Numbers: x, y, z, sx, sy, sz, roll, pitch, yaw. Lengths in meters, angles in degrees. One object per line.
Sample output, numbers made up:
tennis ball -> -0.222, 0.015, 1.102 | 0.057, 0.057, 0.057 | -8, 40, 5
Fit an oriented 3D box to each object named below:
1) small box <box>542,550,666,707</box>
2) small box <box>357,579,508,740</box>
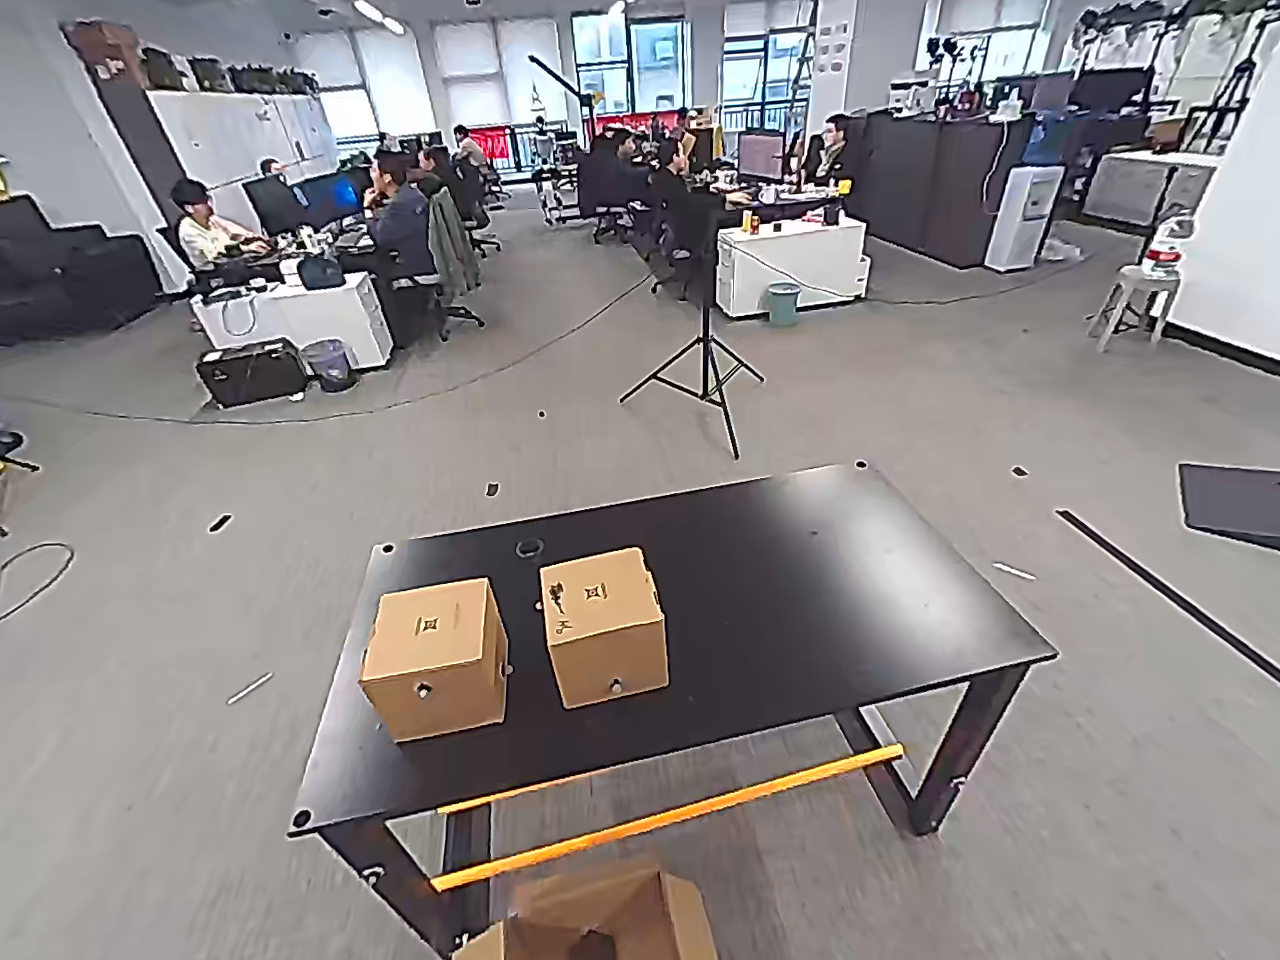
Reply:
small box -> -0.060, 0.245, 0.896 | 0.179, 0.176, 0.168 | -10, 36, -8
small box -> -0.318, 0.289, 0.867 | 0.179, 0.176, 0.168 | -9, 37, -7
